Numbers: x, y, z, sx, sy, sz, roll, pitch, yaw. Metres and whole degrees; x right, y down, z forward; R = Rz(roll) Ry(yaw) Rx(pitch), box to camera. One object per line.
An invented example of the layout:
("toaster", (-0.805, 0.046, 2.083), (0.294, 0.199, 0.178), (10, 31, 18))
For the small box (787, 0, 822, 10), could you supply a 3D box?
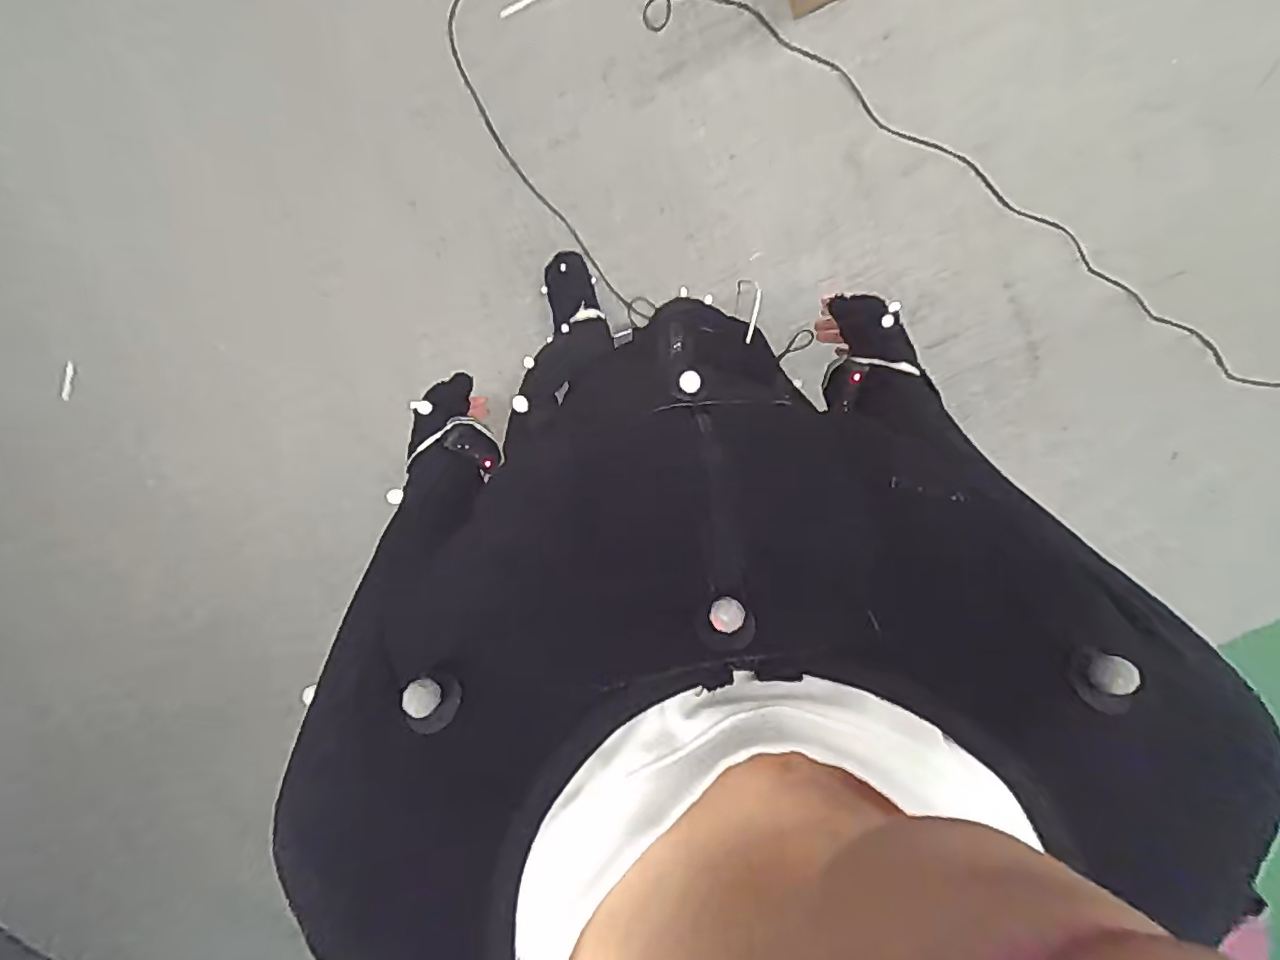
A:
("small box", (0.375, -1.080, 1.065), (0.168, 0.176, 0.179), (-27, 111, 2))
